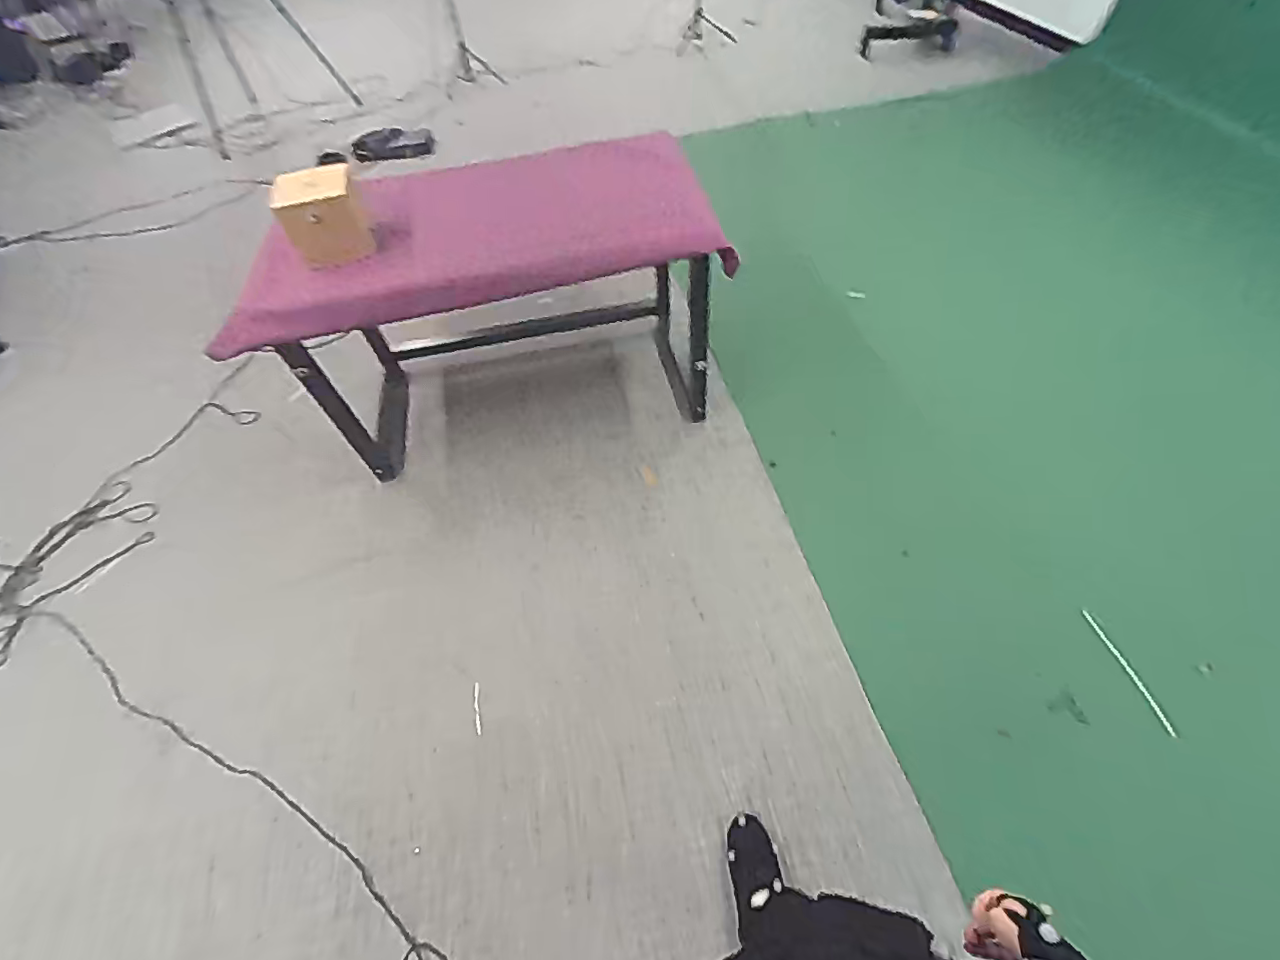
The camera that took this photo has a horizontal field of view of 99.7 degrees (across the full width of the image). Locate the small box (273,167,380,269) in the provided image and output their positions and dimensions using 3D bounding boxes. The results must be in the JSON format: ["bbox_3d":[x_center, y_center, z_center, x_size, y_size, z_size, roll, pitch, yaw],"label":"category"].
[{"bbox_3d":[-0.797,-0.667,1.389,0.179,0.176,0.168,-15,55,-6],"label":"small box"}]
